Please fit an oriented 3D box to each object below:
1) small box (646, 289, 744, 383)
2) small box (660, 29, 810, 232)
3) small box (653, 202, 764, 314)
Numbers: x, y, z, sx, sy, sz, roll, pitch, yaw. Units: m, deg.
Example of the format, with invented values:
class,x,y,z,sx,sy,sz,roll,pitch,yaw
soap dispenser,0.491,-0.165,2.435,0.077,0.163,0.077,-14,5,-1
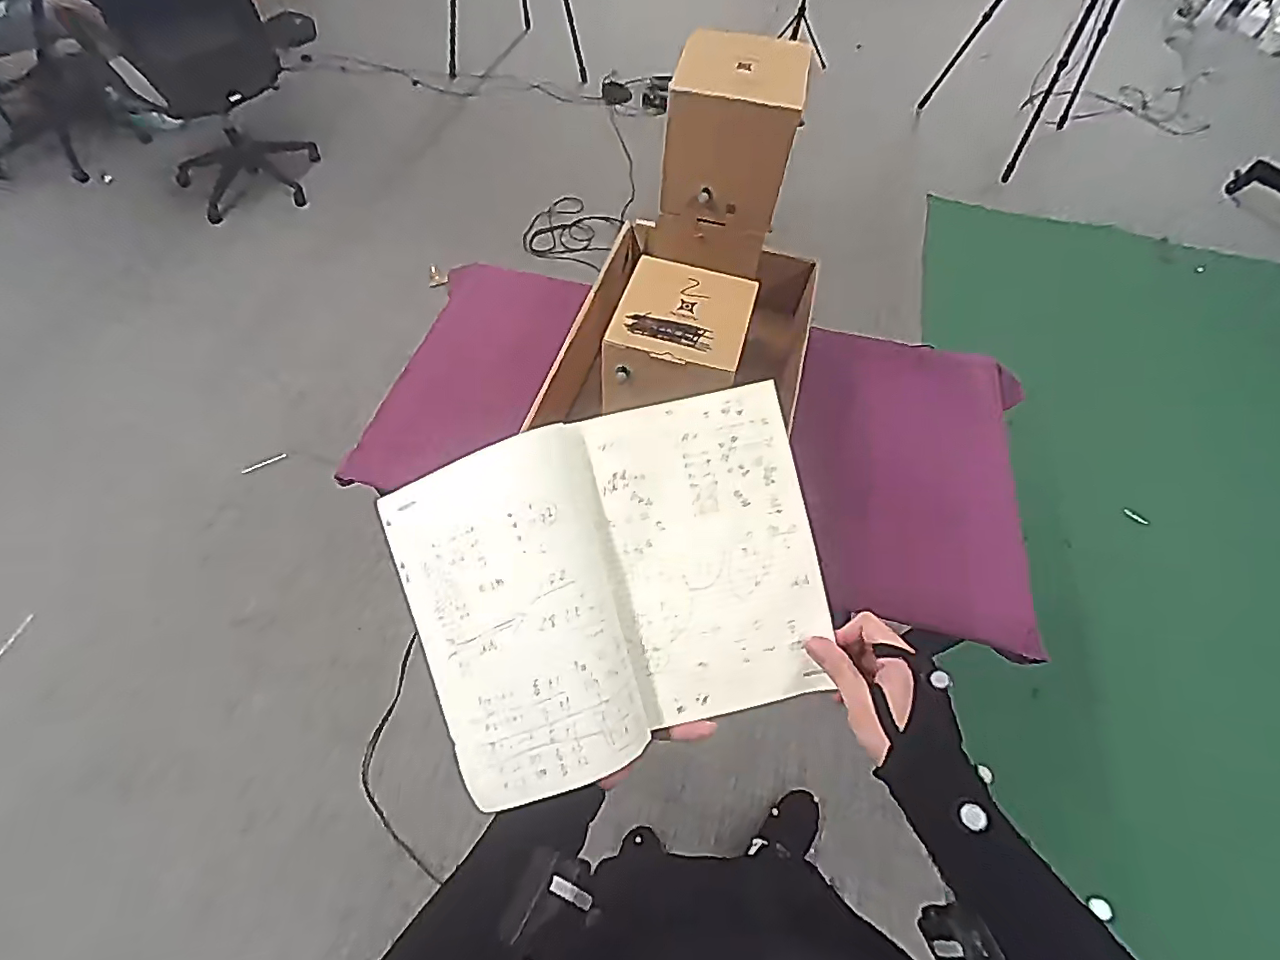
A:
class,x,y,z,sx,sy,sz,roll,pitch,yaw
small box,0.109,-0.318,1.042,0.168,0.176,0.179,13,61,4
small box,0.127,-0.487,0.762,0.168,0.176,0.179,13,61,5
small box,0.118,-0.407,0.903,0.168,0.176,0.179,13,60,4
